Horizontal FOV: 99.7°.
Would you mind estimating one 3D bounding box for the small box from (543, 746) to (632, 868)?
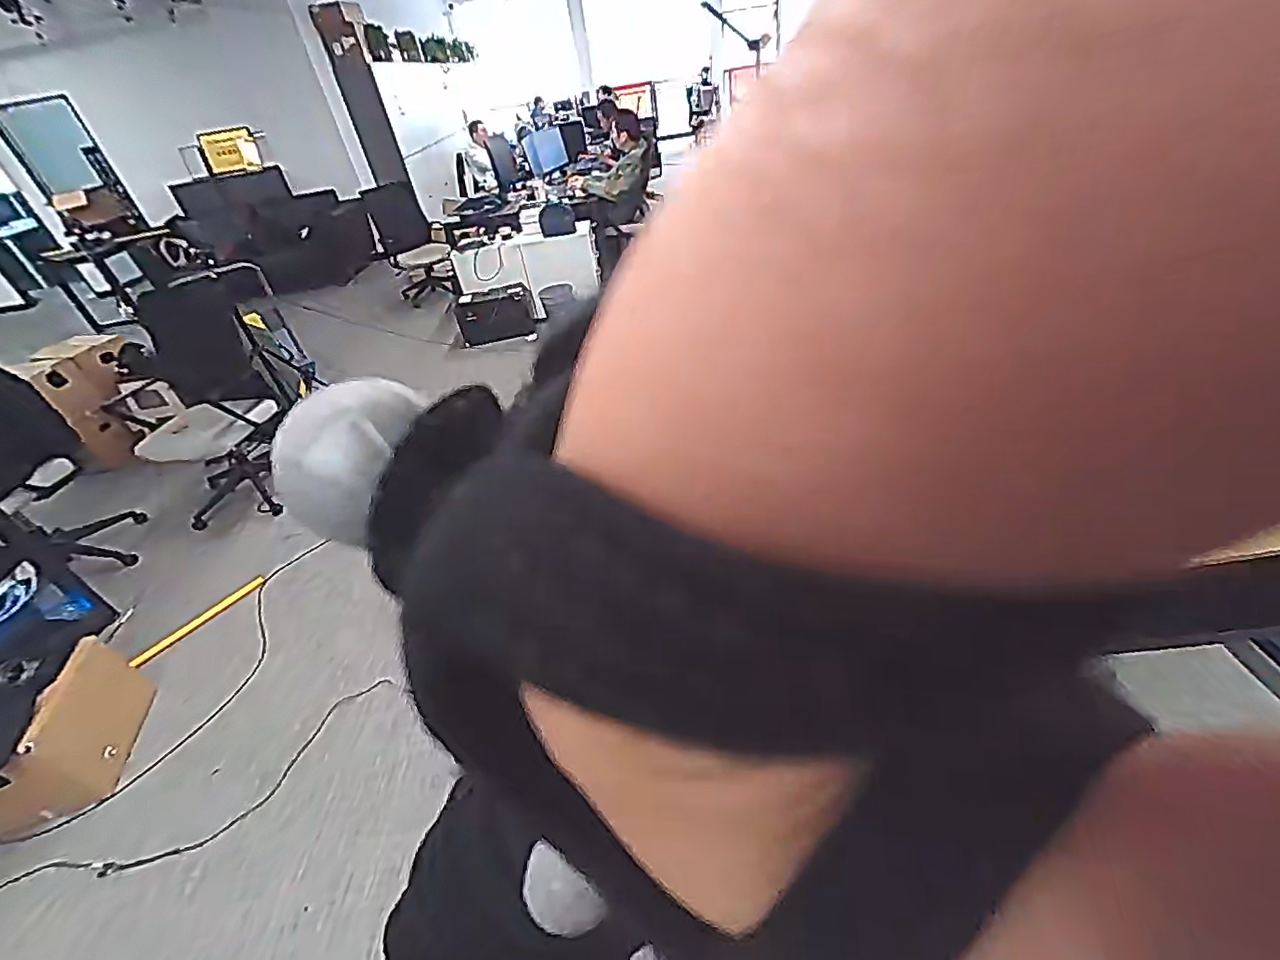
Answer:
[{"bbox_3d":[-0.115,0.732,1.202,0.168,0.176,0.179,-11,36,-3],"label":"small box"}]

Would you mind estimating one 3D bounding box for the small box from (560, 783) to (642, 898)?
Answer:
[{"bbox_3d":[-0.092,0.863,1.296,0.168,0.176,0.179,-9,38,1],"label":"small box"}]
